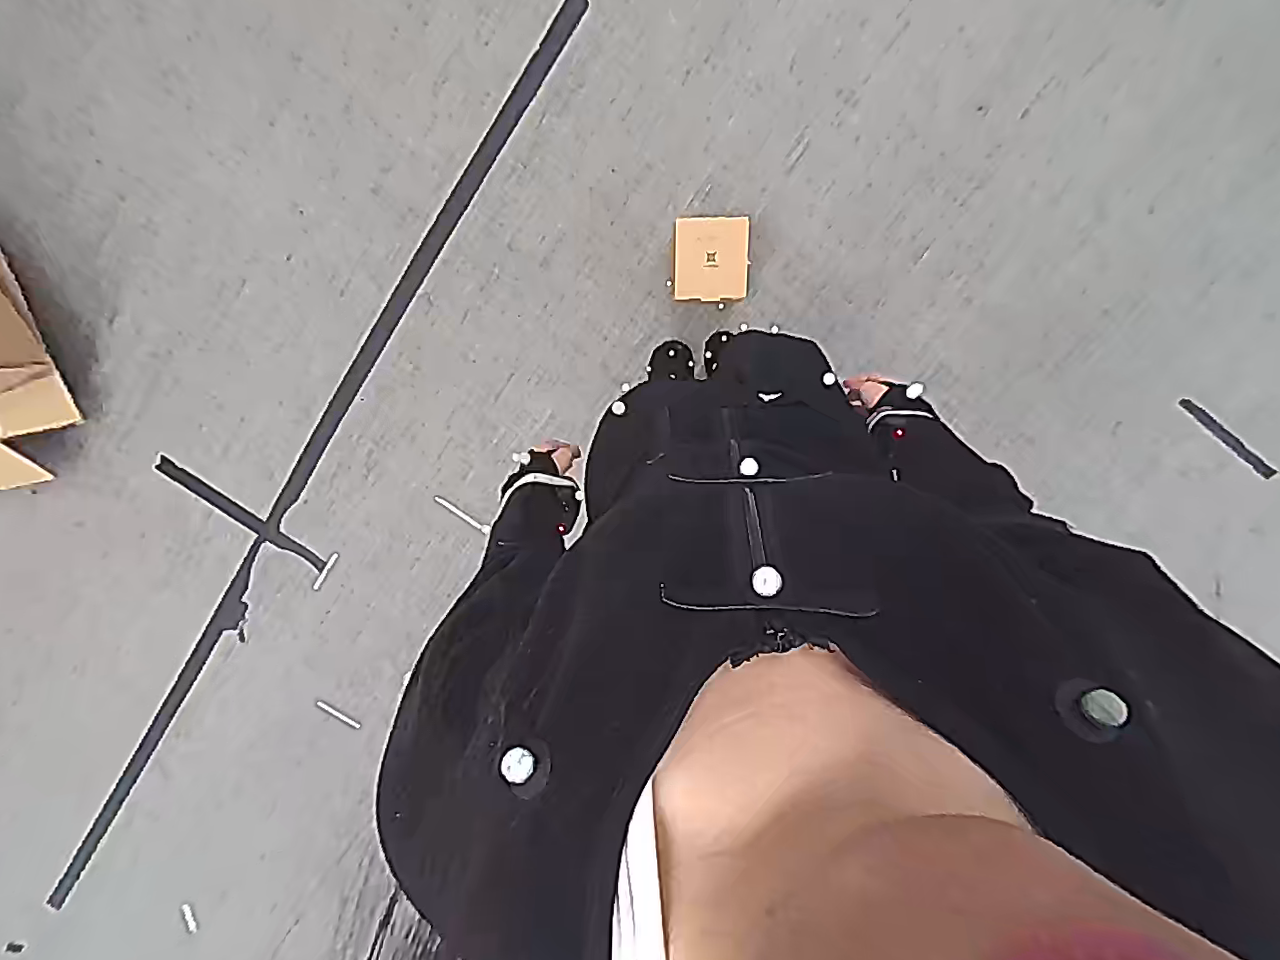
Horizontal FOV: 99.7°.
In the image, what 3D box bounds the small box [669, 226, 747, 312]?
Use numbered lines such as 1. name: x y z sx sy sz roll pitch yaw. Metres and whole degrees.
1. small box: 0.157 -0.498 1.299 0.168 0.176 0.179 -1 103 0
